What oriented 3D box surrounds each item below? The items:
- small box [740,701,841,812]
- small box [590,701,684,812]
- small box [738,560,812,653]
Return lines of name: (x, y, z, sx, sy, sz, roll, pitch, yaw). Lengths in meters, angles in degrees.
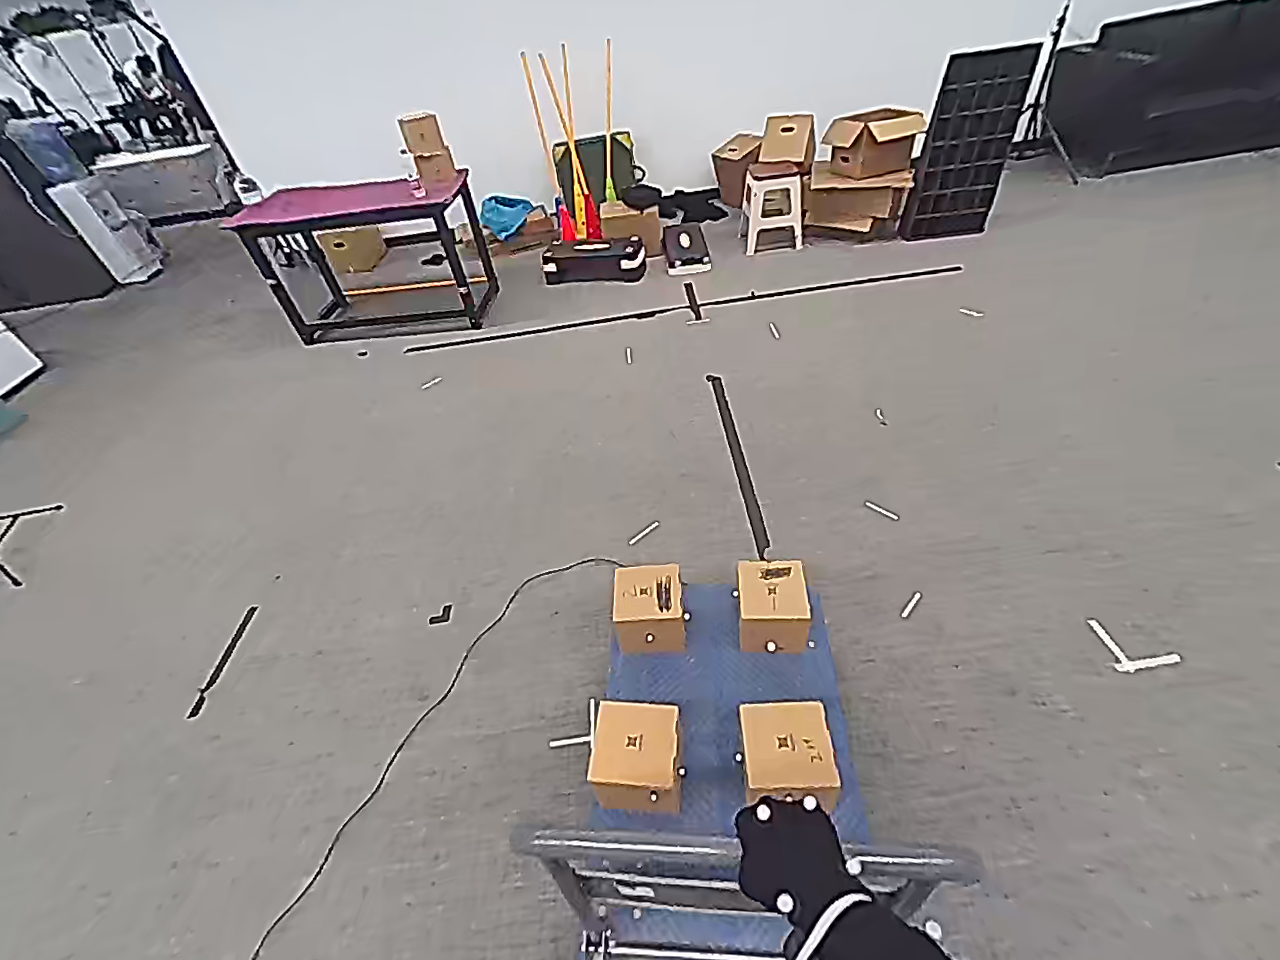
small box: (0.309, 0.586, 1.142, 0.179, 0.176, 0.168, -4, 43, 5)
small box: (0.002, 0.603, 1.177, 0.179, 0.176, 0.168, 1, 43, 8)
small box: (0.344, 0.329, 1.411, 0.168, 0.176, 0.179, -2, 44, 8)
